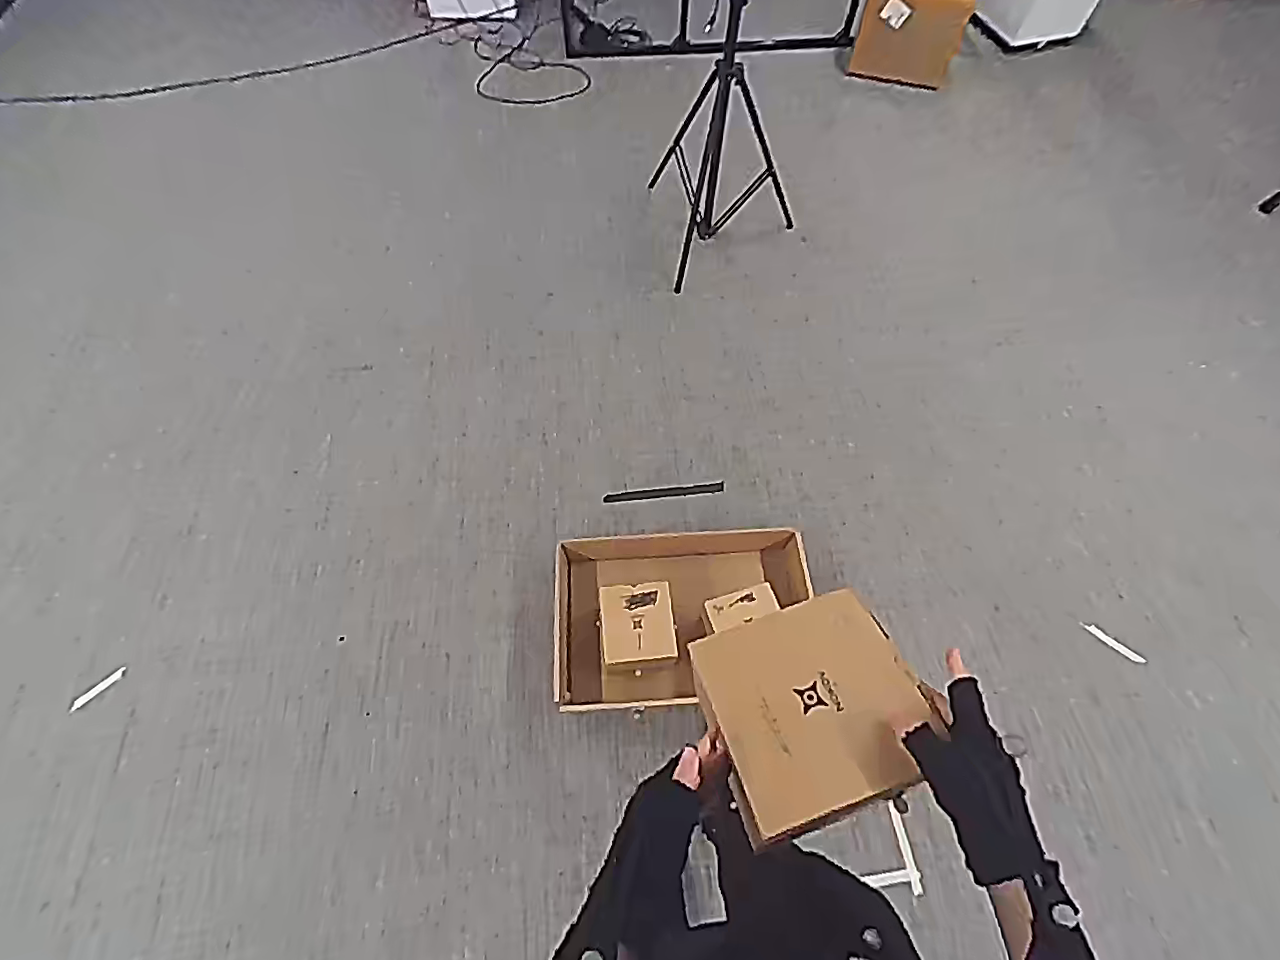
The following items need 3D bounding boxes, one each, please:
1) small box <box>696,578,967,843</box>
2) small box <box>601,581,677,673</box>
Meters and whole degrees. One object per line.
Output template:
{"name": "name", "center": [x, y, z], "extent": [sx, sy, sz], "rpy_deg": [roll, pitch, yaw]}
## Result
{"name": "small box", "center": [0.165, 0.228, 0.529], "extent": [0.179, 0.176, 0.168], "rpy_deg": [-19, 51, -5]}
{"name": "small box", "center": [-0.008, 0.356, 1.301], "extent": [0.168, 0.176, 0.179], "rpy_deg": [-5, 63, -4]}
